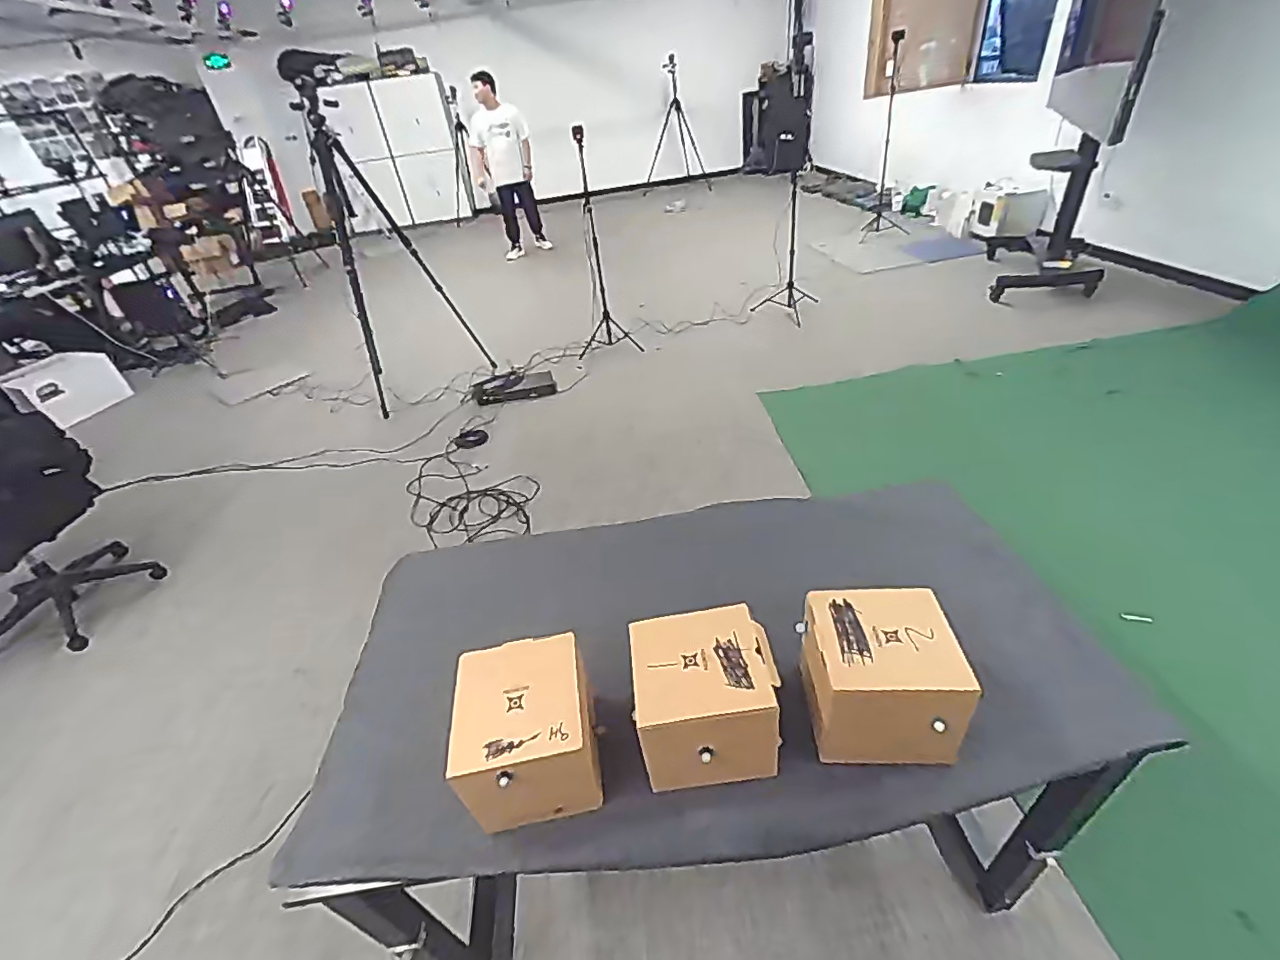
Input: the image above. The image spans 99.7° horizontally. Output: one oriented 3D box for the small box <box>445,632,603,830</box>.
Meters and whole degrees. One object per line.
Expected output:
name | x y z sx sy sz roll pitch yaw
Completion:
small box | -0.151 0.345 0.752 0.168 0.176 0.179 -11 36 -2
